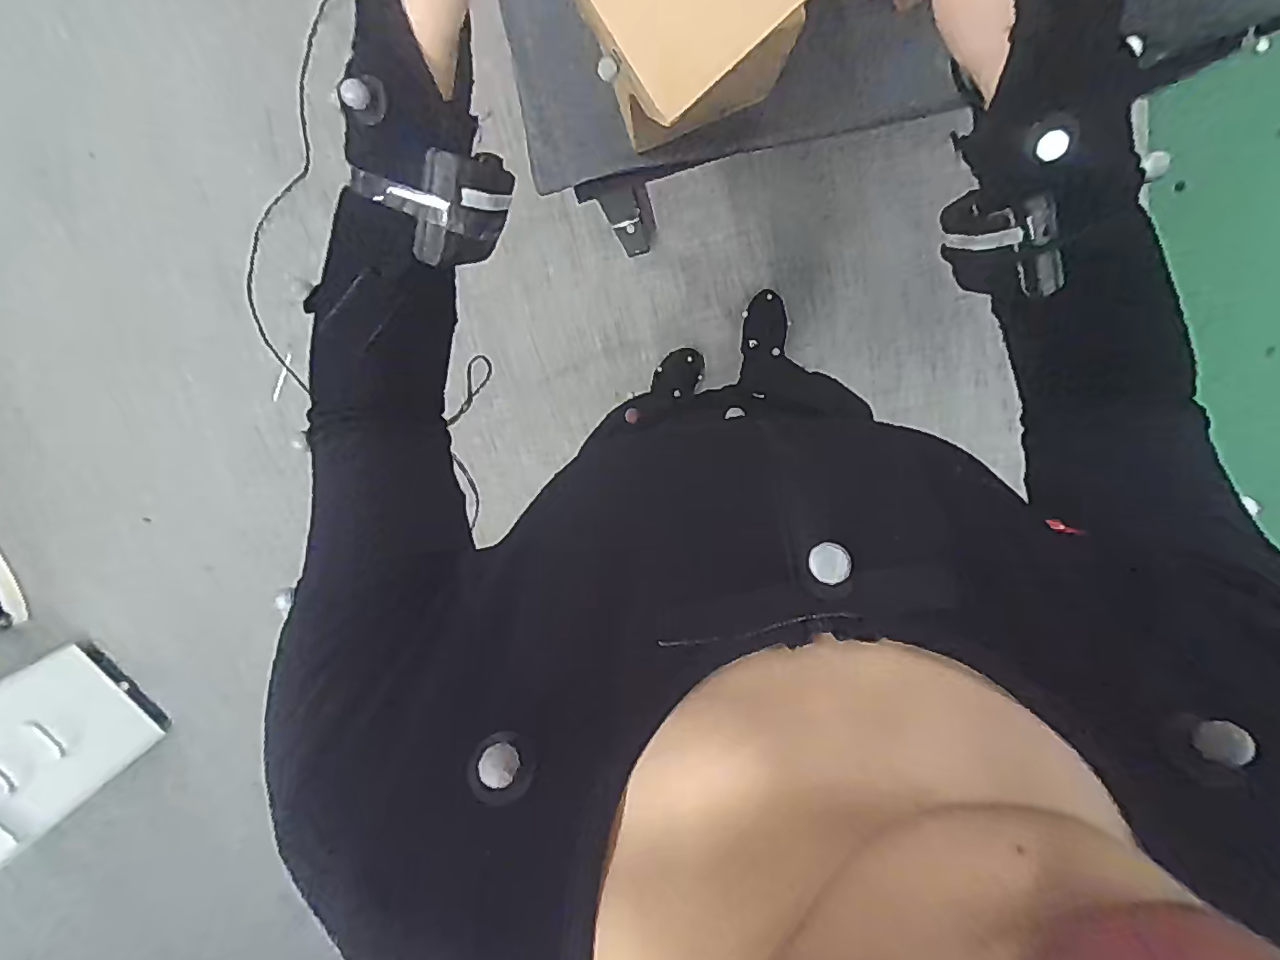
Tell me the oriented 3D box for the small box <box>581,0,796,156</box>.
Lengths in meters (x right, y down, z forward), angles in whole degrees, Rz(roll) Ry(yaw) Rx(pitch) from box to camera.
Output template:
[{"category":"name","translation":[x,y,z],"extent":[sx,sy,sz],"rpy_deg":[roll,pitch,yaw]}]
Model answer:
[{"category":"small box","translation":[0.036,-0.468,0.542],"extent":[0.168,0.176,0.179],"rpy_deg":[-19,103,7]}]
